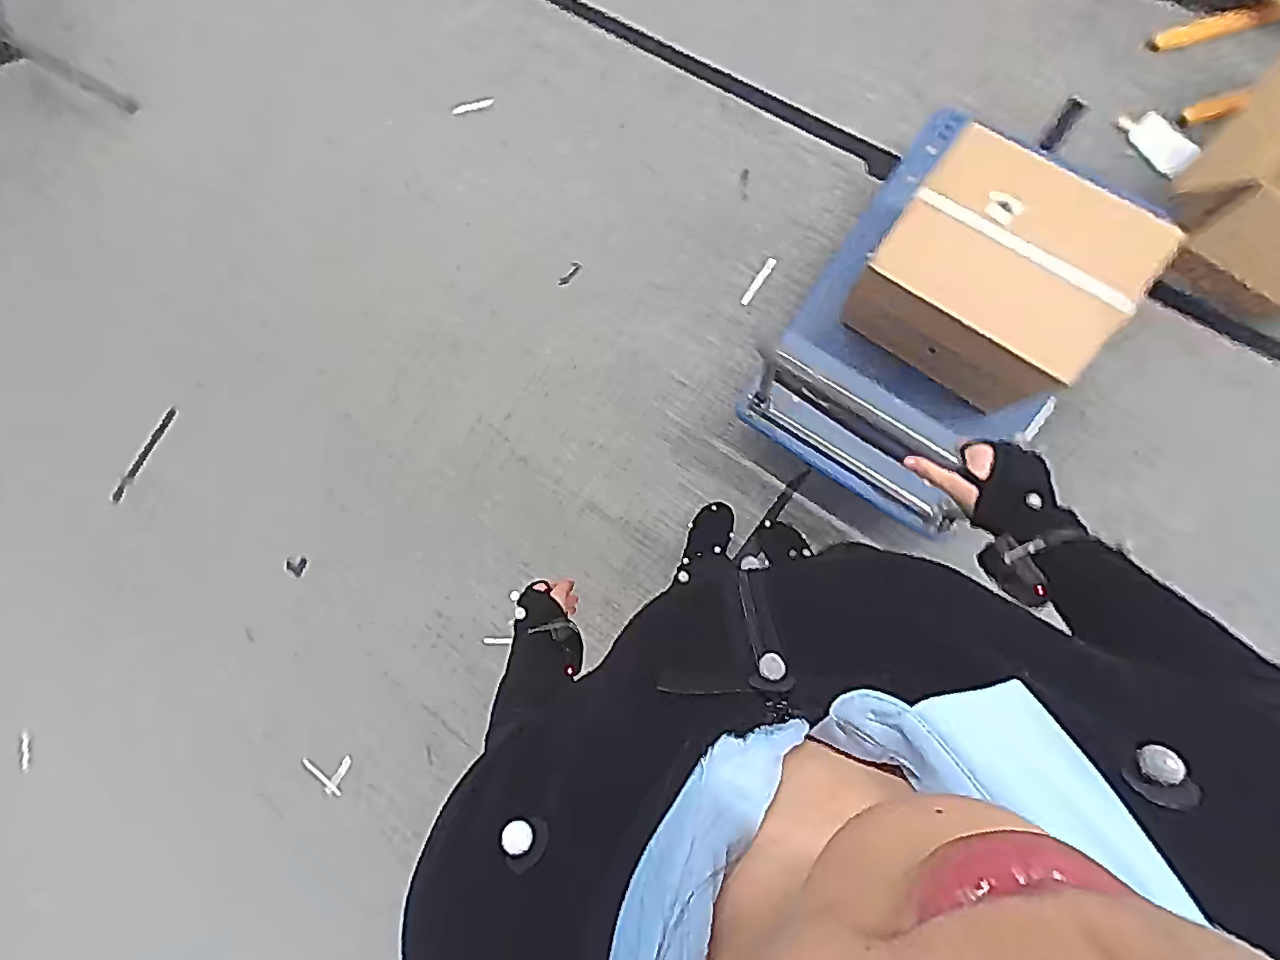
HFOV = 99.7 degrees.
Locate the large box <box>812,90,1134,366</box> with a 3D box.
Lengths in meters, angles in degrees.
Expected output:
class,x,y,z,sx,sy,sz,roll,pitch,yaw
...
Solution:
class,x,y,z,sx,sy,sz,roll,pitch,yaw
large box,0.617,-0.476,1.091,0.408,0.320,0.320,29,93,11
